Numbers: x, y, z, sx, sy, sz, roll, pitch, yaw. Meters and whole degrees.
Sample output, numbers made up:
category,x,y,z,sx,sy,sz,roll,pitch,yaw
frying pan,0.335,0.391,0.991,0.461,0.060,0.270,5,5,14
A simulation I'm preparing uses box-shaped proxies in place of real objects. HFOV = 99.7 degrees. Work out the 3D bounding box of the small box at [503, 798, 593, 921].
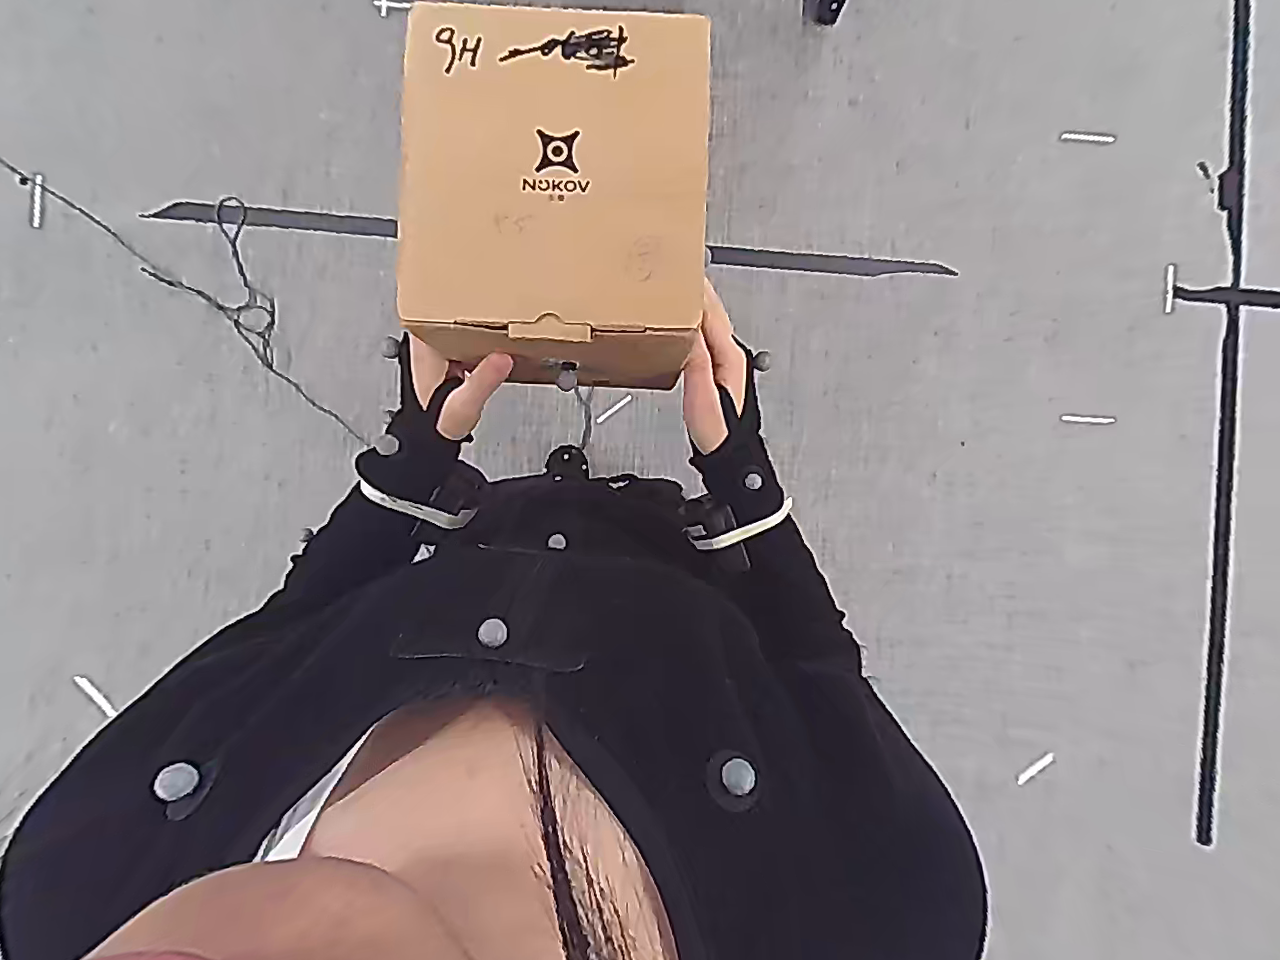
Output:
category,x,y,z,sx,sy,sz,roll,pitch,yaw
small box,-0.203,0.857,1.237,0.179,0.176,0.168,6,90,-4

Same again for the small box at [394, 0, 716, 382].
category,x,y,z,sx,sy,sz,roll,pitch,yaw
small box,-0.046,-0.166,0.365,0.168,0.176,0.179,2,90,-2

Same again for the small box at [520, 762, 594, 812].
category,x,y,z,sx,sy,sz,roll,pitch,yaw
small box,-0.214,0.855,1.401,0.179,0.176,0.168,5,90,-4
